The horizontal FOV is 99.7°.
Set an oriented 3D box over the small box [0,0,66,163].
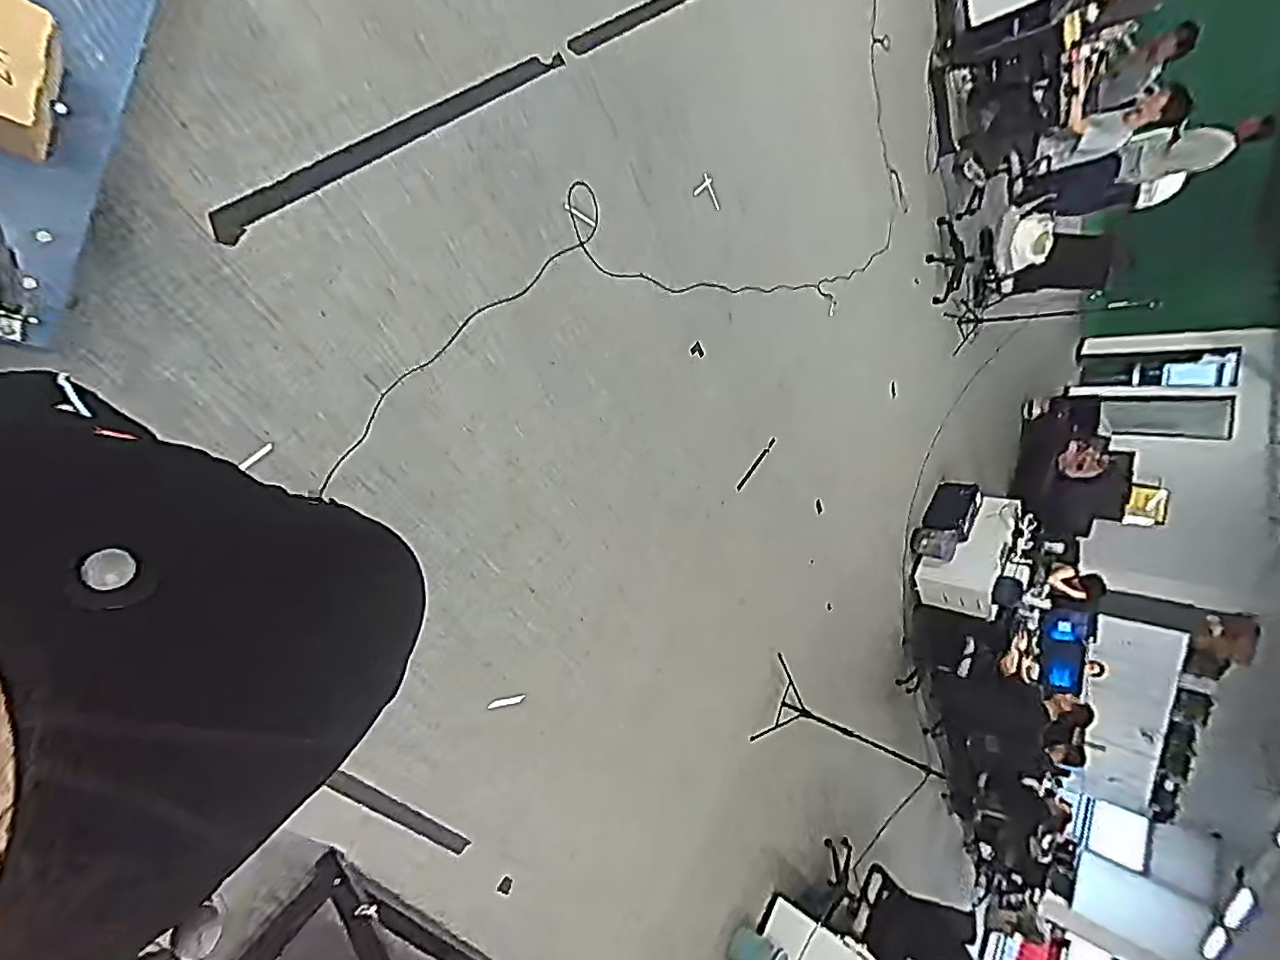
[{"bbox_3d":[-0.942,-0.579,0.750,0.179,0.176,0.168,12,88,-45],"label":"small box"}]
